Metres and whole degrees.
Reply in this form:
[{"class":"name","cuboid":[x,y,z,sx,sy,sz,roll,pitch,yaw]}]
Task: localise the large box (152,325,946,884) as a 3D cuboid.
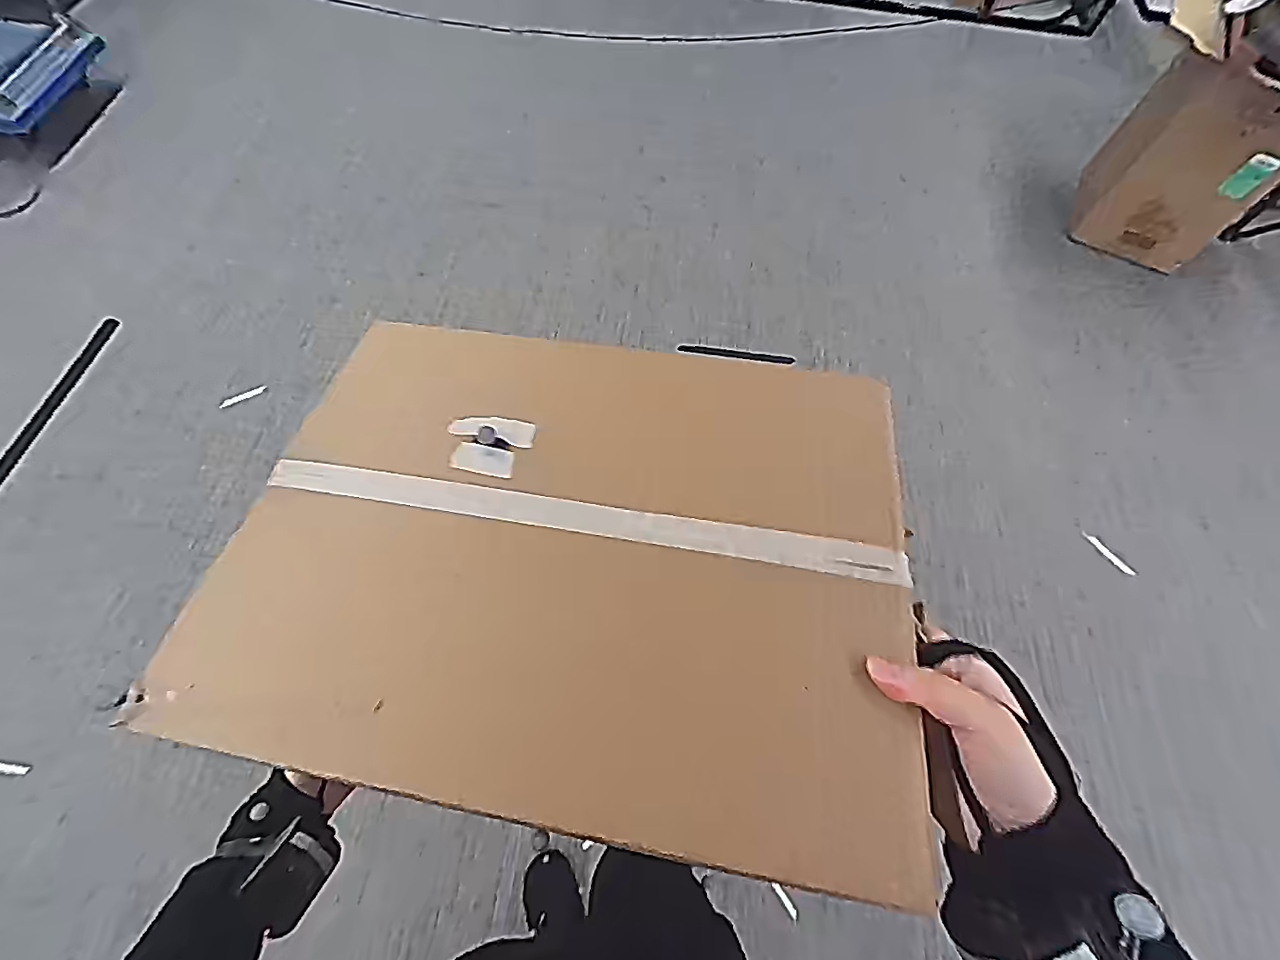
[{"class":"large box","cuboid":[-0.028,0.105,0.460,0.408,0.320,0.320,8,56,8]}]
